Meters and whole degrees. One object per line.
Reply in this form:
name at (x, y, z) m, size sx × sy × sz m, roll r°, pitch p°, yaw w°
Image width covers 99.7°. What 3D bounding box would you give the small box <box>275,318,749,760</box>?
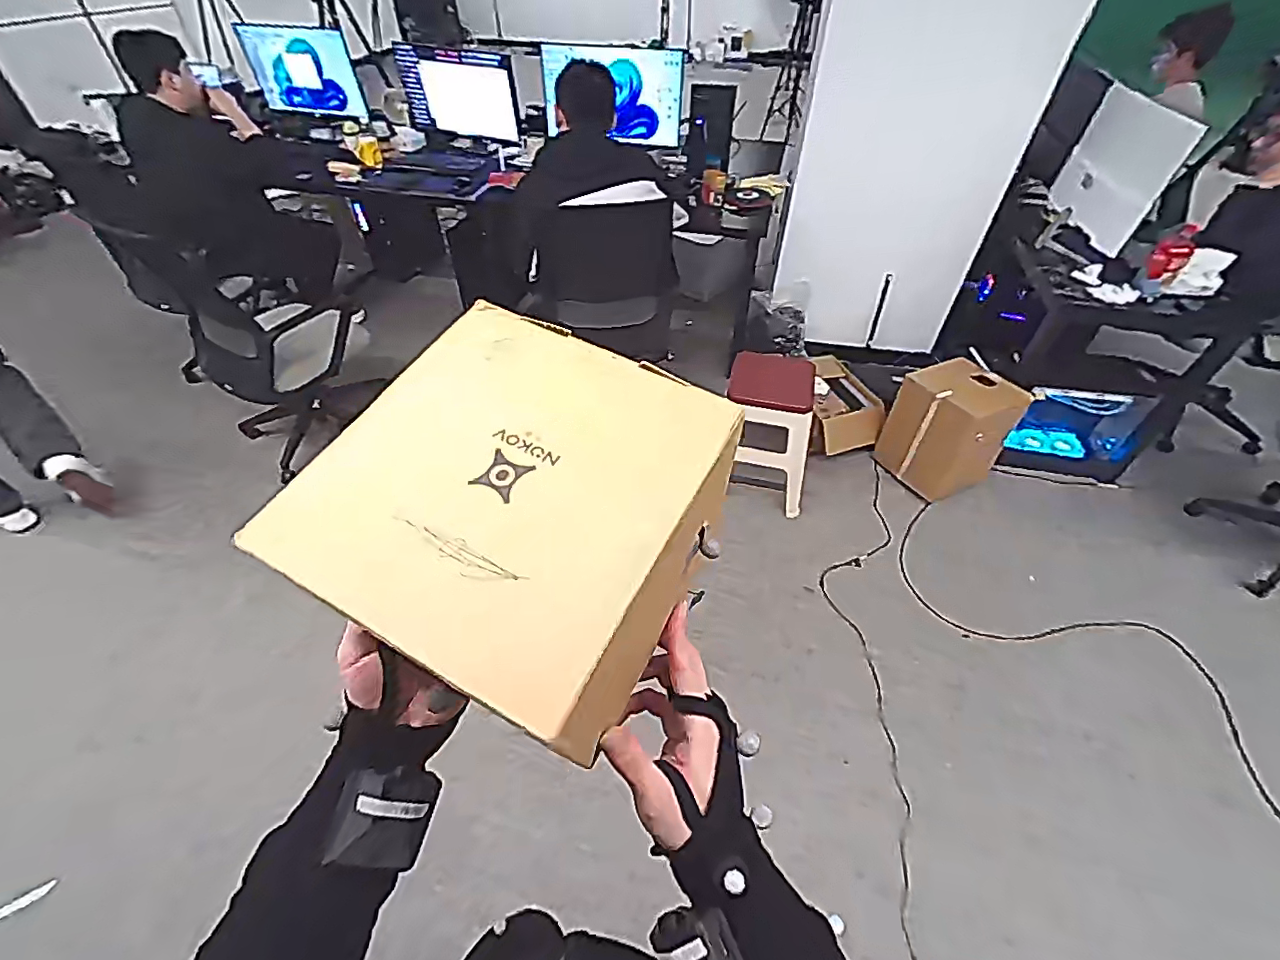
small box at (-0.055, 0.043, 0.330) m, size 0.168 × 0.176 × 0.179 m, roll 25°, pitch 63°, yaw 14°
